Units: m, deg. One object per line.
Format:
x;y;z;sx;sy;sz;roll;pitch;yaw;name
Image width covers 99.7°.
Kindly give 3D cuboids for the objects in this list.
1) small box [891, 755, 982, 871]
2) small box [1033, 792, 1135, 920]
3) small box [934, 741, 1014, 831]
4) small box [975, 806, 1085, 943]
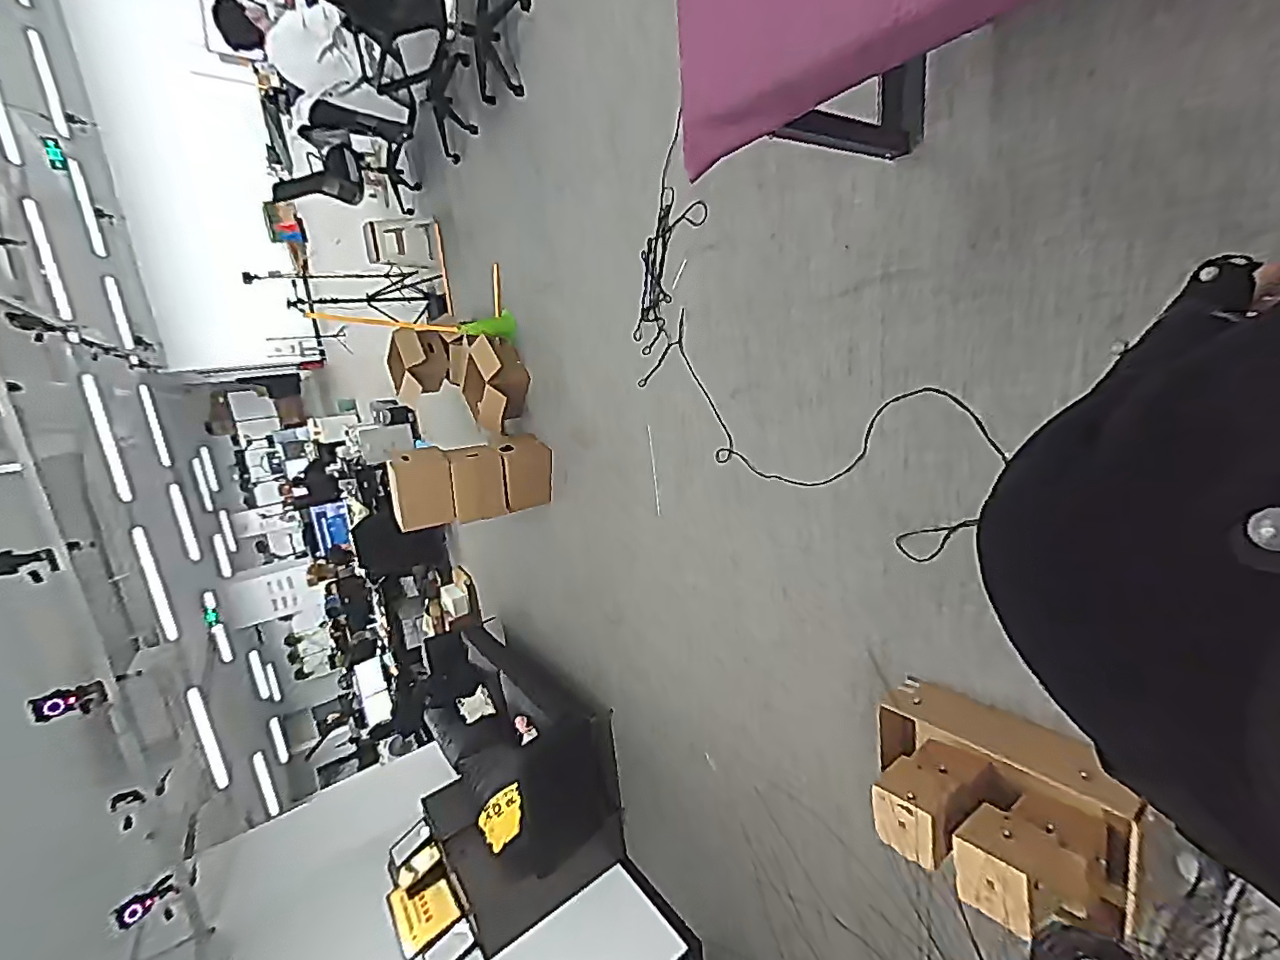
0.819;0.907;1.489;0.168;0.176;0.179;4;106;55;small box
1.109;0.929;1.360;0.179;0.176;0.168;5;105;58;small box
0.961;0.896;1.575;0.179;0.176;0.168;-2;100;56;small box
0.945;0.940;1.312;0.168;0.176;0.179;2;102;59;small box
